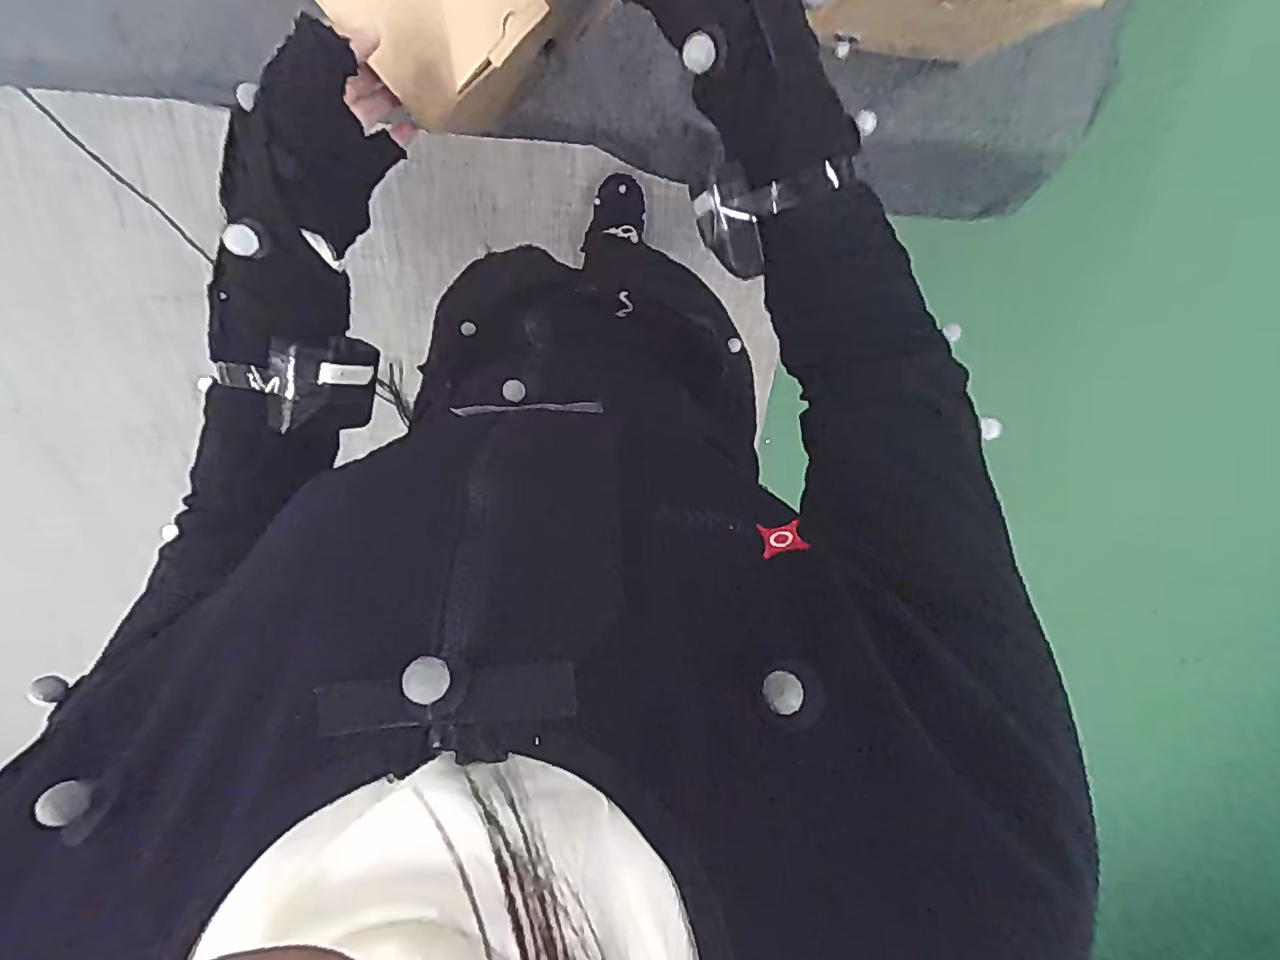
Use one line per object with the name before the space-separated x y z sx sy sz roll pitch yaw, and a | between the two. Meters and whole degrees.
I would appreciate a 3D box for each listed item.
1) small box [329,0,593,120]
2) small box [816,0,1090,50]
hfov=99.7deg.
small box | -0.118 -0.370 0.339 0.168 0.176 0.179 -34 116 24
small box | 0.243 -0.444 0.392 0.168 0.176 0.179 3 116 -5
